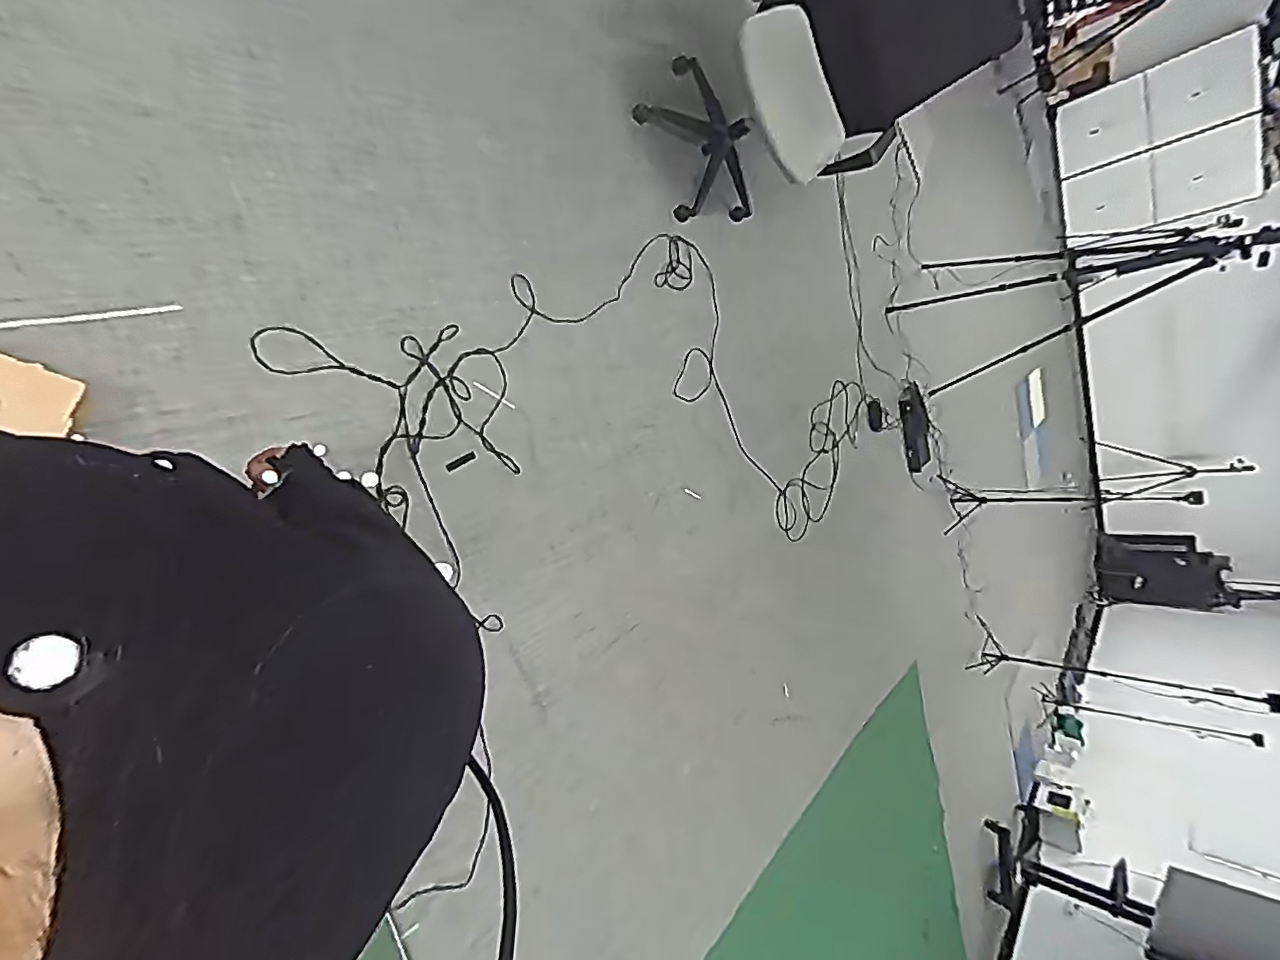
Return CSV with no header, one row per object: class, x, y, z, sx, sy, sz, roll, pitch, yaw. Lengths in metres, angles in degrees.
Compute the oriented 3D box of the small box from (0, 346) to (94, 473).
small box,-1.021,-0.117,0.860,0.179,0.176,0.168,27,70,-39
